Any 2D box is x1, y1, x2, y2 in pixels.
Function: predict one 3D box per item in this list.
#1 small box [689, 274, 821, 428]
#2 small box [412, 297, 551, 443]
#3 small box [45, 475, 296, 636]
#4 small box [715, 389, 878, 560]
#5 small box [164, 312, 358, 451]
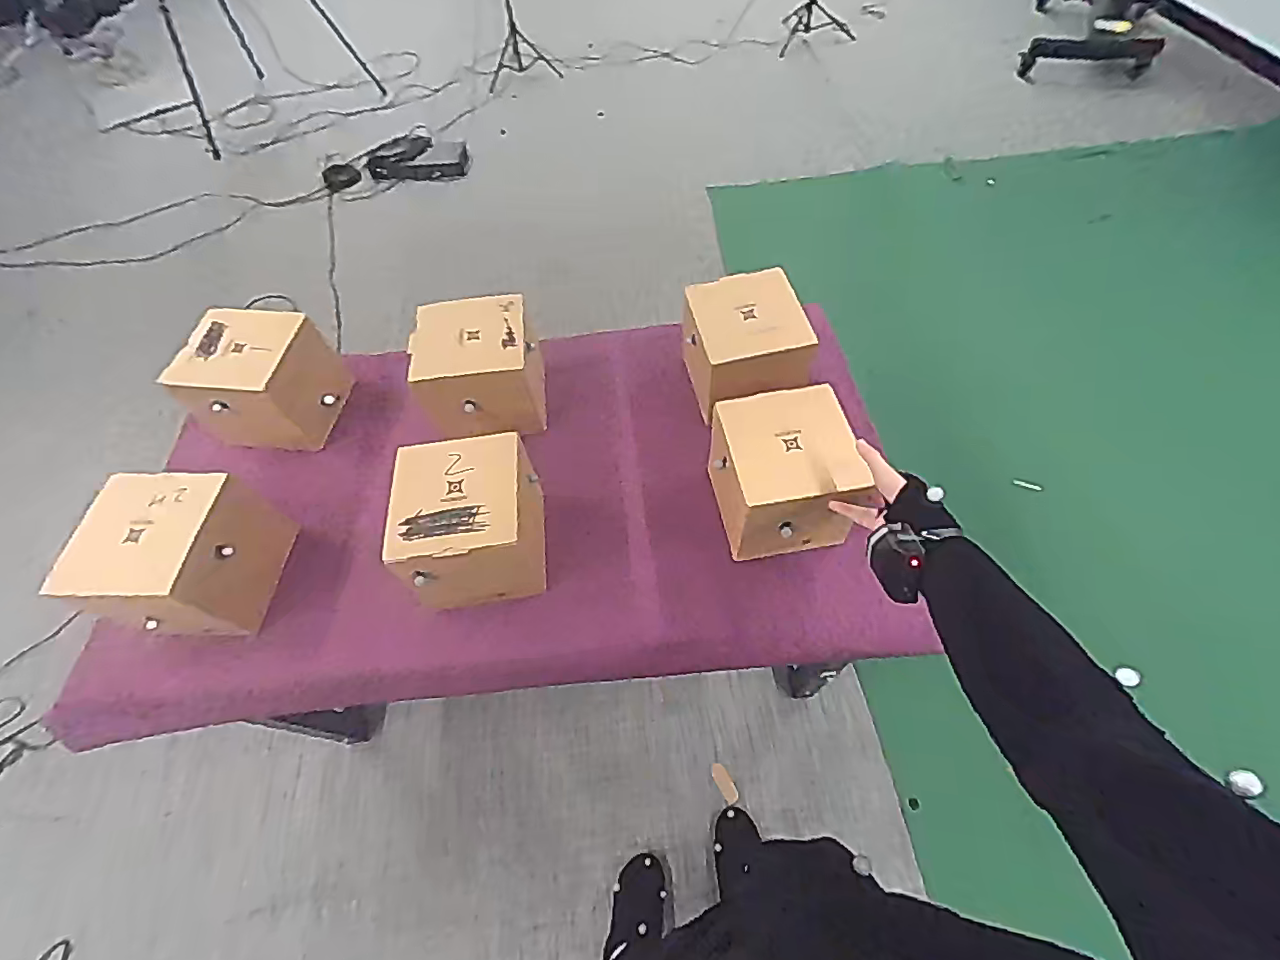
[{"bbox_3d":[0.177,-0.209,0.901,0.168,0.176,0.179,-11,60,-2],"label":"small box"},{"bbox_3d":[-0.255,-0.176,0.908,0.179,0.176,0.168,-7,60,0],"label":"small box"},{"bbox_3d":[-0.622,0.109,0.750,0.168,0.176,0.179,1,58,3],"label":"small box"},{"bbox_3d":[0.207,0.001,0.769,0.168,0.176,0.179,-10,56,-2],"label":"small box"},{"bbox_3d":[-0.625,-0.163,0.919,0.179,0.176,0.168,5,60,5],"label":"small box"}]
